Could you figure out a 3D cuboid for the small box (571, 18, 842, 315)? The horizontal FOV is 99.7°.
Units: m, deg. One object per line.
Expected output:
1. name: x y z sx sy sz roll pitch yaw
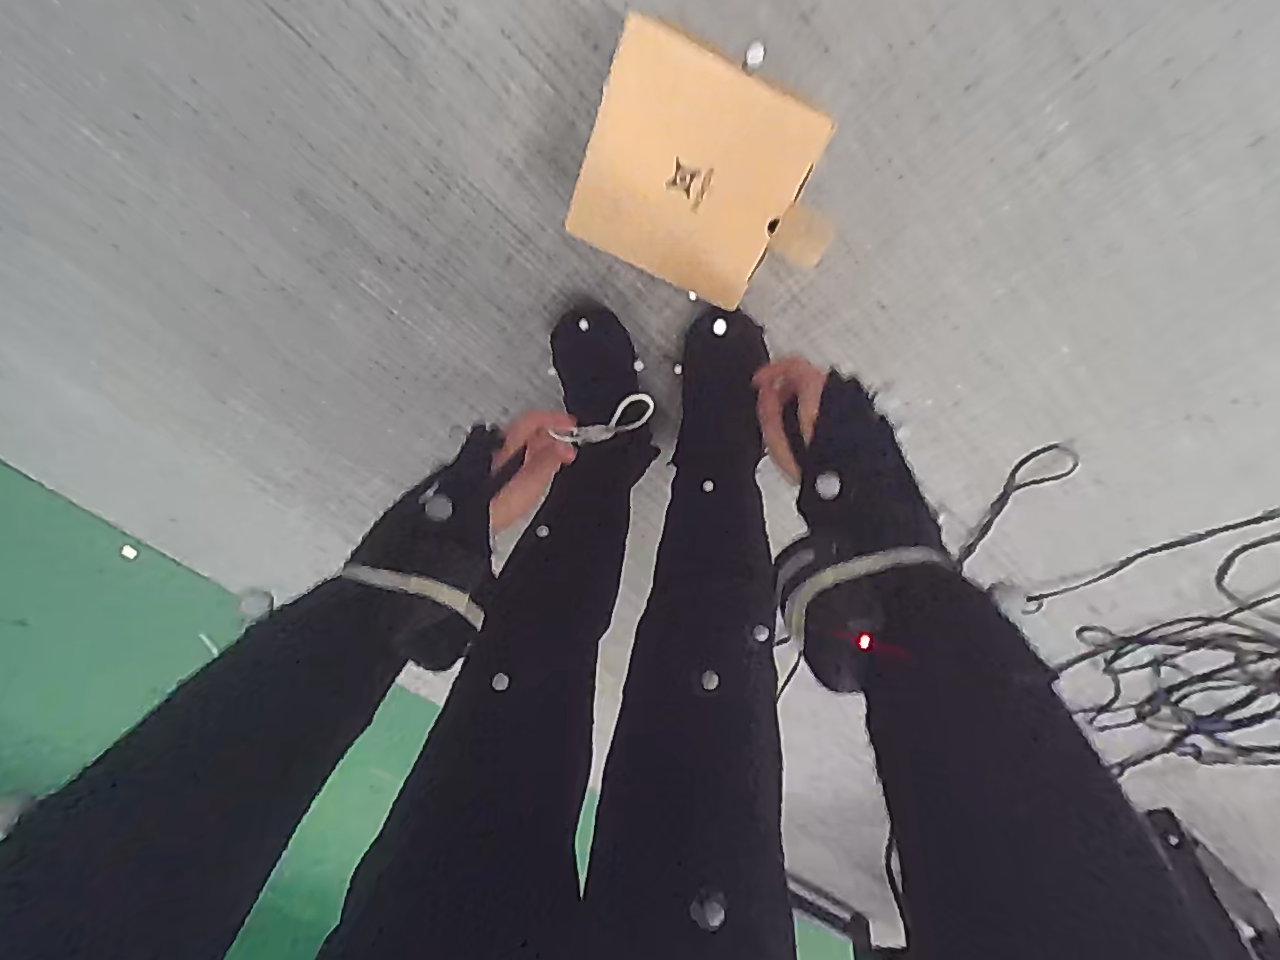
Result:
1. small box: 0.058 -0.291 0.510 0.179 0.176 0.168 23 129 -8
